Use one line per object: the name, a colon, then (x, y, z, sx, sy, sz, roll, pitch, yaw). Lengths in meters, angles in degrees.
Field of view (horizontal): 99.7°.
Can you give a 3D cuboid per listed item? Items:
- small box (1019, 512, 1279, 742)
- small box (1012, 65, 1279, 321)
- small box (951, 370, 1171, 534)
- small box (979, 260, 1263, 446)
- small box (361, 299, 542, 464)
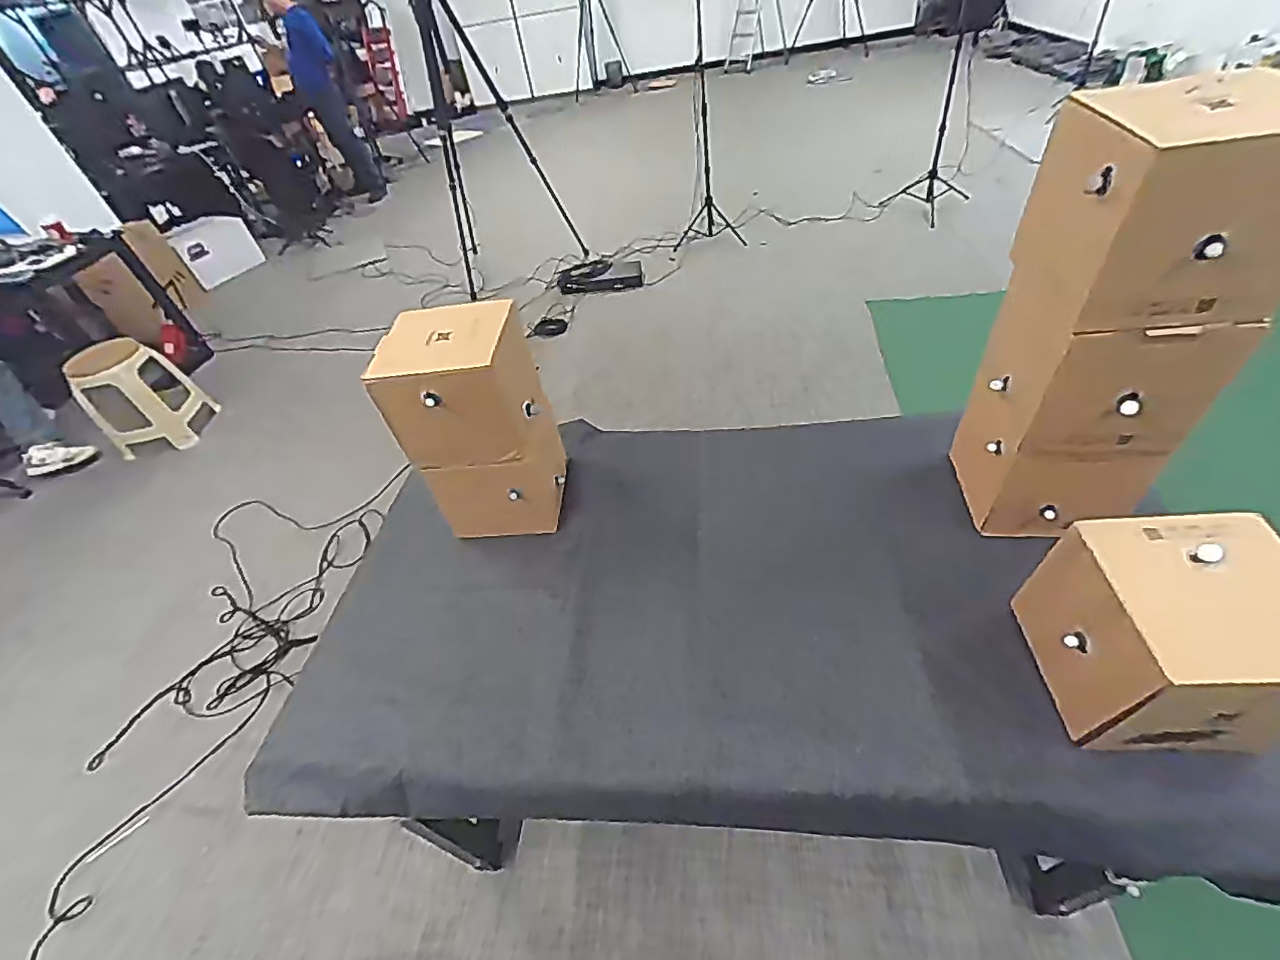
small box: (0.523, 0.150, 0.545, 0.168, 0.179, 0.176, -4, 48, 7)
small box: (0.501, -0.266, 0.521, 0.168, 0.176, 0.179, -1, 46, 10)
small box: (0.560, -0.043, 0.756, 0.168, 0.176, 0.179, -1, 47, 11)
small box: (0.532, -0.152, 0.637, 0.168, 0.176, 0.179, 0, 47, 11)
small box: (-0.256, -0.138, 0.783, 0.179, 0.176, 0.168, -4, 47, 6)
